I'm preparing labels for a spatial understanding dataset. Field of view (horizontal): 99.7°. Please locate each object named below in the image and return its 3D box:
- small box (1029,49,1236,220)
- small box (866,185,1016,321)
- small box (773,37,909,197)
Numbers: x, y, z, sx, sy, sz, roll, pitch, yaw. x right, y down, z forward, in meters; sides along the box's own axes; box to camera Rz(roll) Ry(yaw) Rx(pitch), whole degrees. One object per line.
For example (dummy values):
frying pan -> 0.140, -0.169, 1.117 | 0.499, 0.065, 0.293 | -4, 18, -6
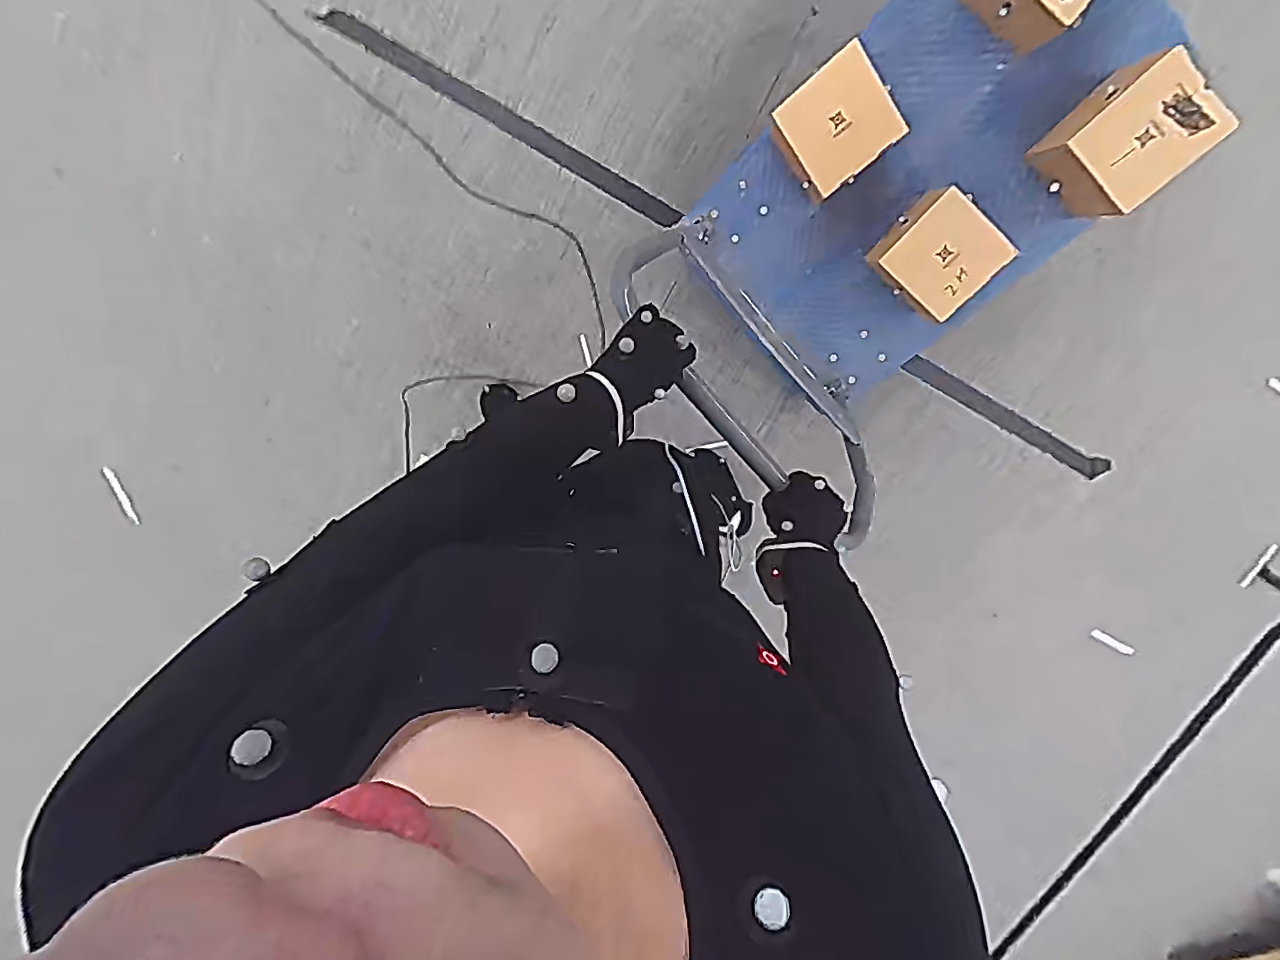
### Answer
small box -> 0.834, -0.581, 0.937 | 0.168, 0.176, 0.179 | 44, 116, -9
small box -> 0.573, -0.438, 1.058 | 0.179, 0.176, 0.168 | 41, 116, -8
small box -> 0.361, -0.656, 1.007 | 0.168, 0.176, 0.179 | -33, 105, 23
